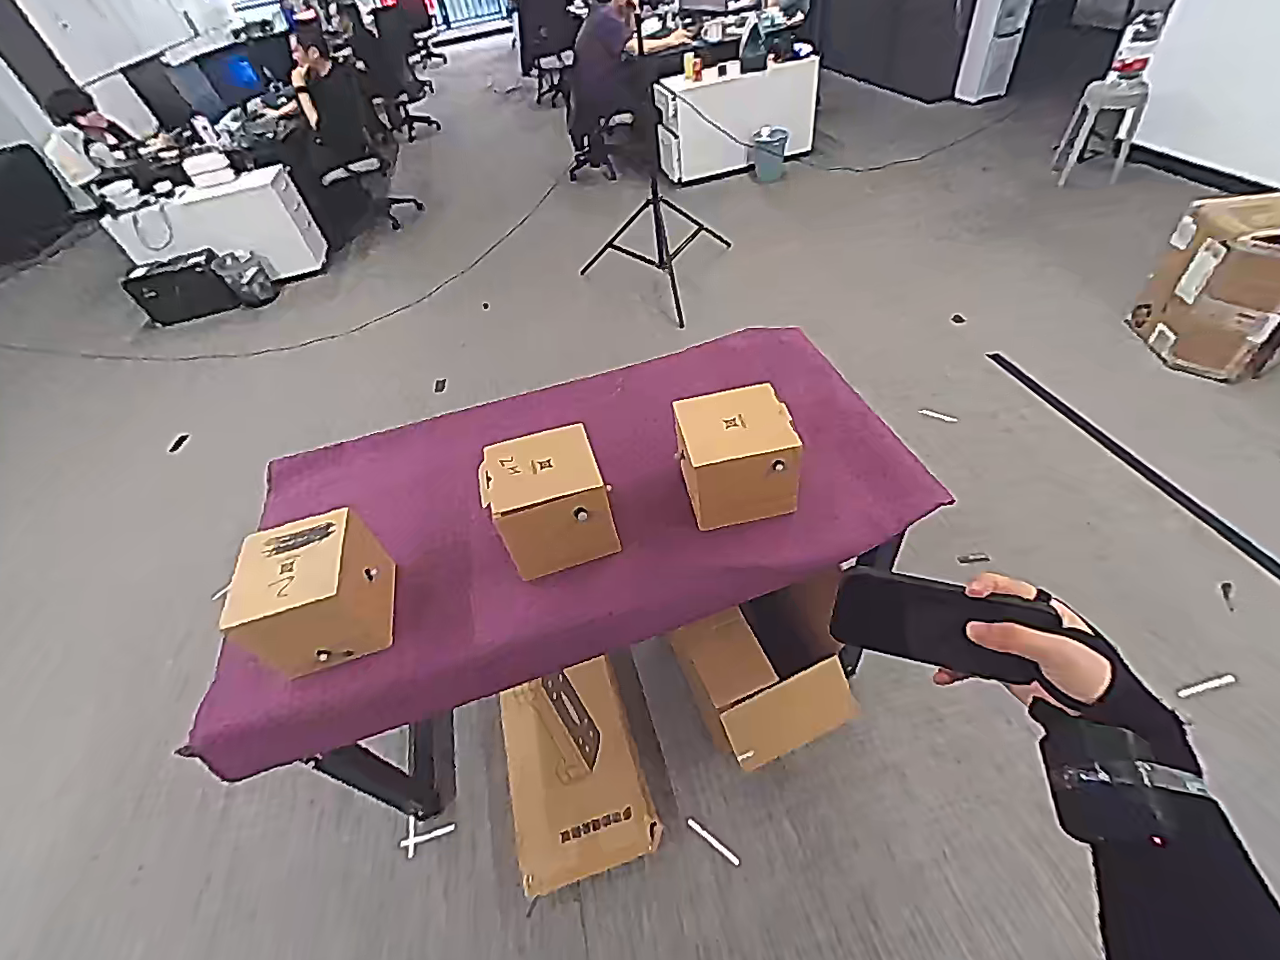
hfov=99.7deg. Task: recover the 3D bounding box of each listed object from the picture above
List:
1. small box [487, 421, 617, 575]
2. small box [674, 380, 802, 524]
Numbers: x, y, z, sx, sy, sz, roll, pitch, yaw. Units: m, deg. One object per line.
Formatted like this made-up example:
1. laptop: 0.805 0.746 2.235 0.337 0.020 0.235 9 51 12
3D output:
1. small box: -0.144 0.032 0.921 0.179 0.176 0.168 -17 45 -6
2. small box: 0.165 -0.044 0.937 0.179 0.176 0.168 -12 47 -1
